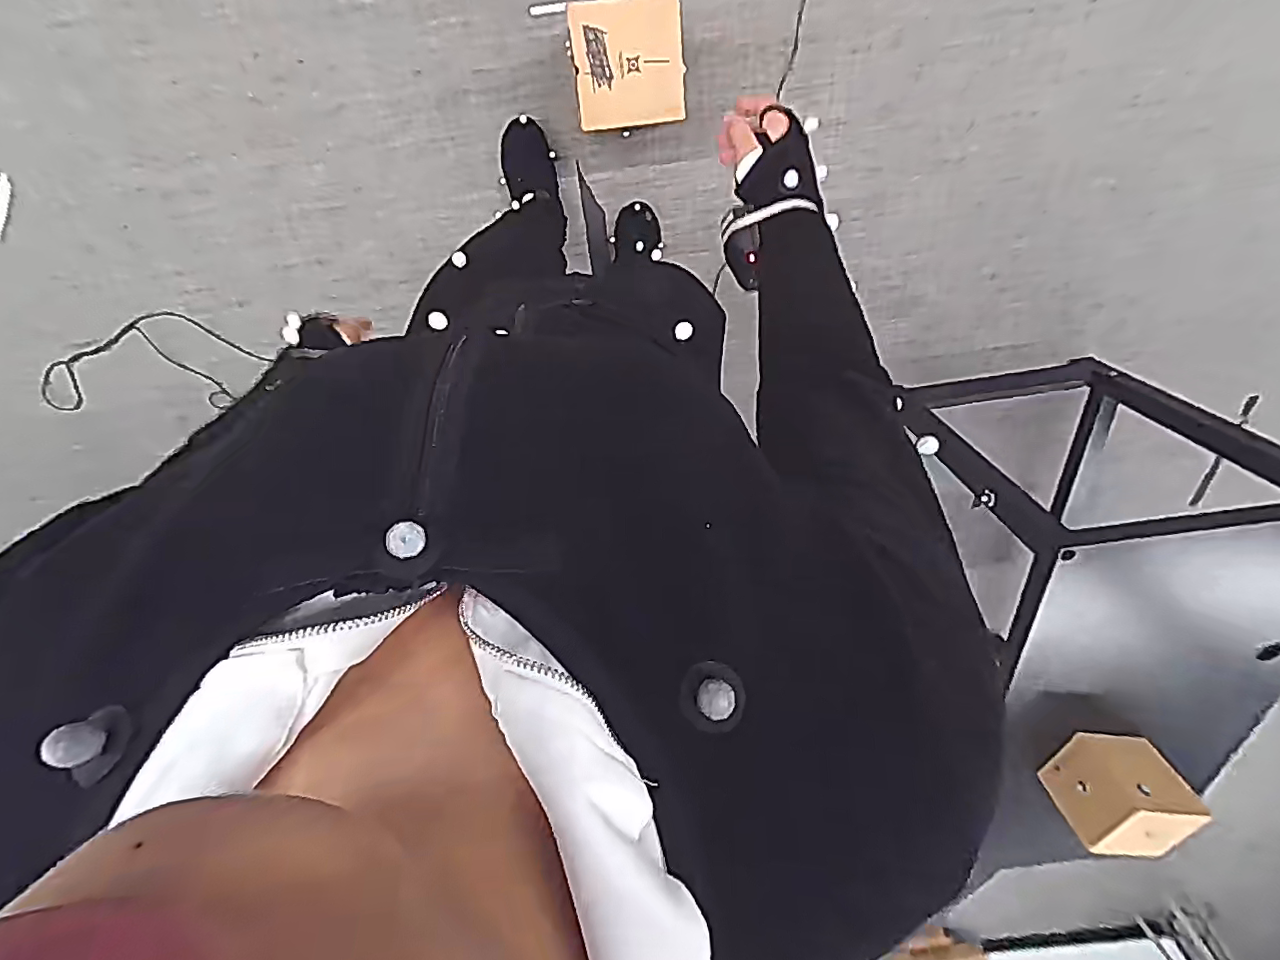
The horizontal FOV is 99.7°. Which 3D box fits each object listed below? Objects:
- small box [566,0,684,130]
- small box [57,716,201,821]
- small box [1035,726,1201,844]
[{"bbox_3d":[-0.023,-0.707,0.929,0.179,0.176,0.168,-6,123,0],"label":"small box"},{"bbox_3d":[-1.303,0.740,1.396,0.179,0.176,0.168,-10,124,-2],"label":"small box"},{"bbox_3d":[1.028,0.662,1.184,0.179,0.176,0.168,8,122,-9],"label":"small box"}]
